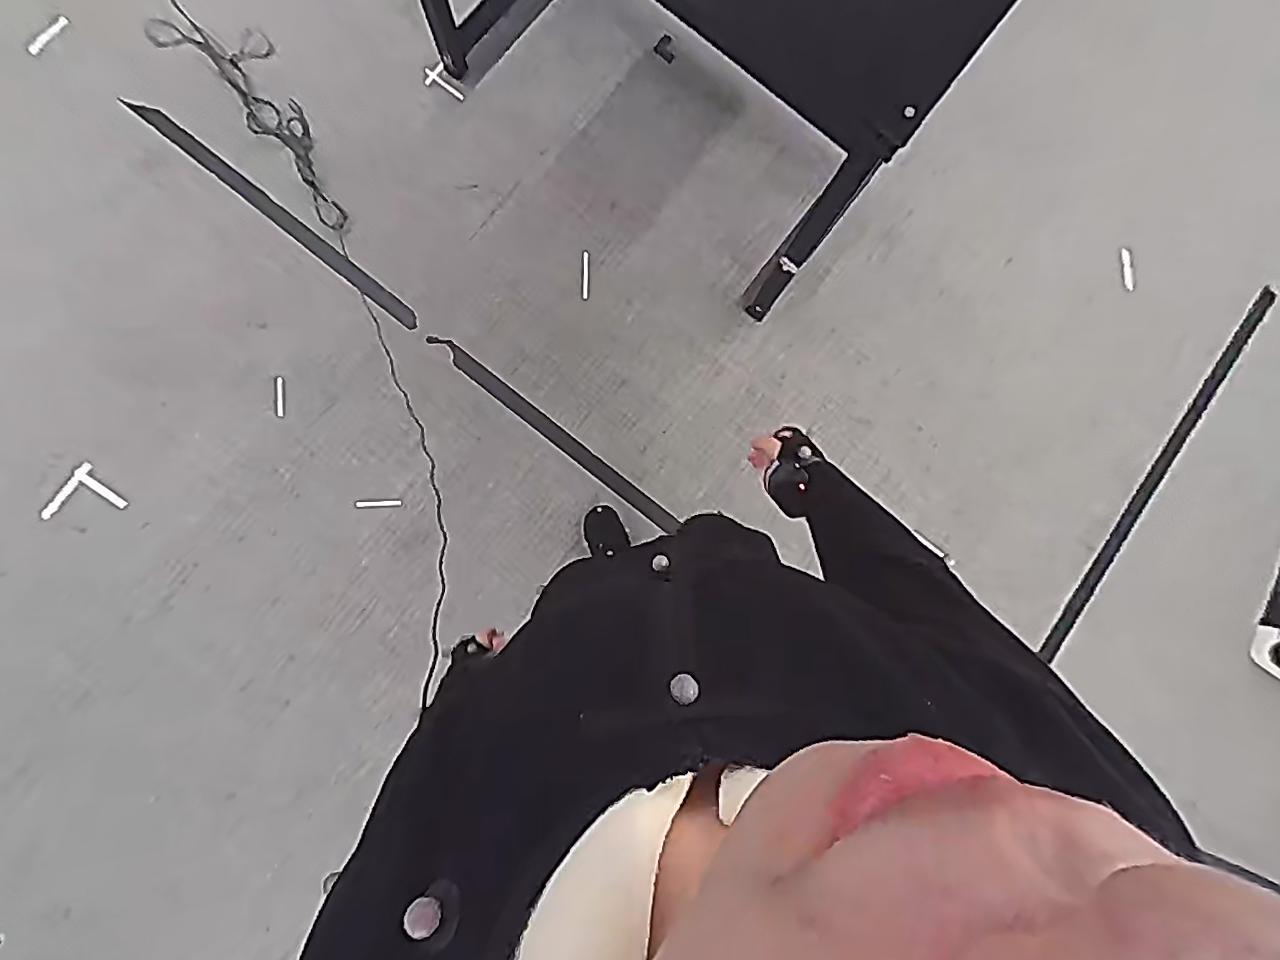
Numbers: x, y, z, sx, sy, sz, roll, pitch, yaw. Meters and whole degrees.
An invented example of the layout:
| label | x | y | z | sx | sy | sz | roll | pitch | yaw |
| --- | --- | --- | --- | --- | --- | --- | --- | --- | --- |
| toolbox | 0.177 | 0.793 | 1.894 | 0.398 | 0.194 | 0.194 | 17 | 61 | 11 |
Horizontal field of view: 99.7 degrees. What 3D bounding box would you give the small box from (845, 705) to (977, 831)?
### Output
| label | x | y | z | sx | sy | sz | roll | pitch | yaw |
| --- | --- | --- | --- | --- | --- | --- | --- | --- | --- |
| small box | 0.615 | 0.649 | 1.251 | 0.179 | 0.176 | 0.168 | 39 | 85 | -1 |
